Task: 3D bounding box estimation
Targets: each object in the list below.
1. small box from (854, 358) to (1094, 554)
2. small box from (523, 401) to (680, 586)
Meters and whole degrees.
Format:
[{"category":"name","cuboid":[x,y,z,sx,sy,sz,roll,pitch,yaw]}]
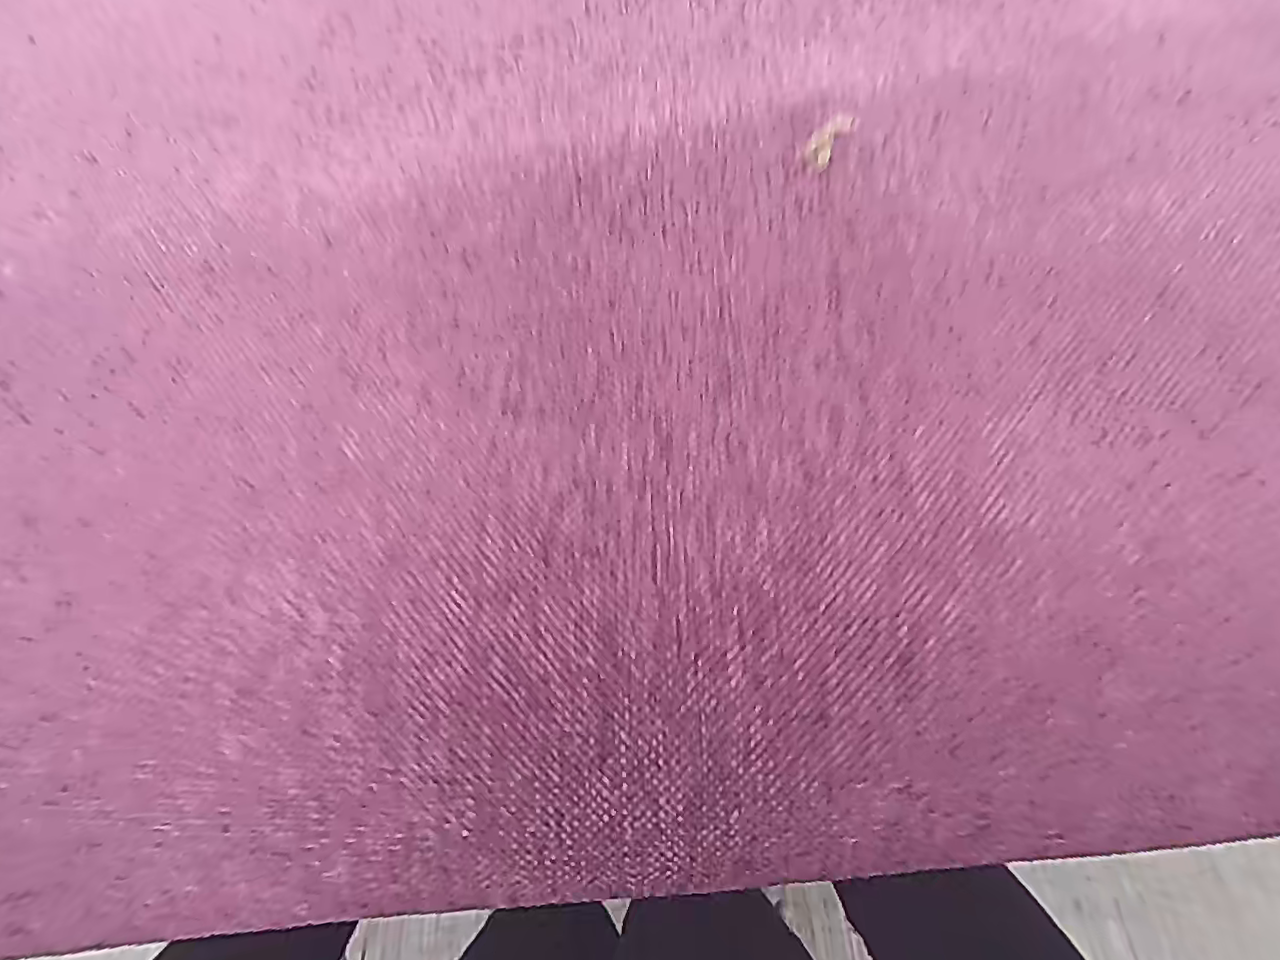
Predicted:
[{"category":"small box","cuboid":[0.378,-0.021,0.654,0.168,0.176,0.179,-6,68,3]},{"category":"small box","cuboid":[-0.040,0.024,0.664,0.168,0.176,0.179,-5,69,2]}]
